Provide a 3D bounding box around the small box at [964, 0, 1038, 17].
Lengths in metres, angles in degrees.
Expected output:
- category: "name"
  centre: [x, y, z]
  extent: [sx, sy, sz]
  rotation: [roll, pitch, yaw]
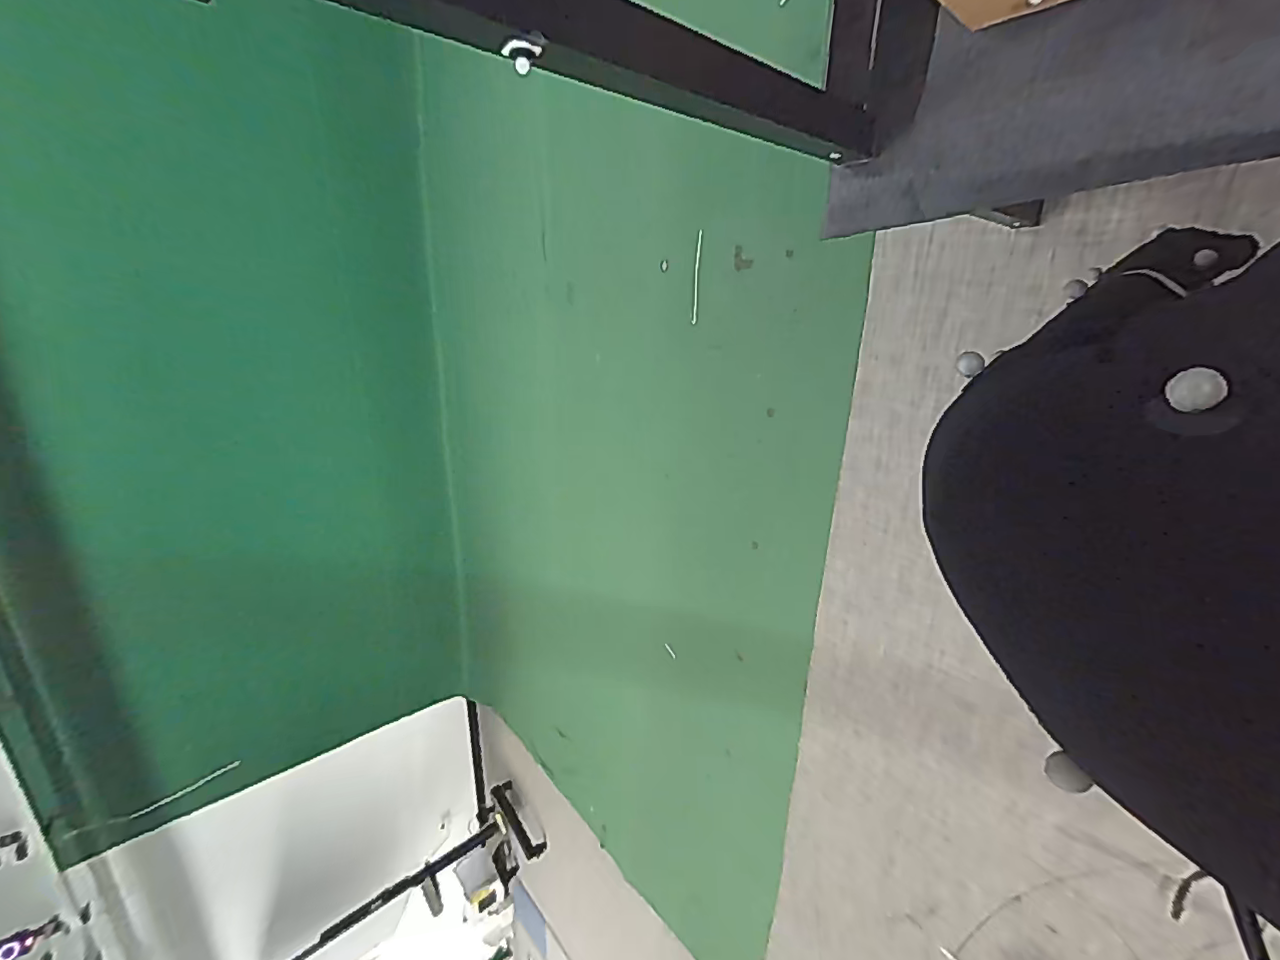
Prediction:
- category: "small box"
  centre: [0.379, -0.580, 0.494]
  extent: [0.168, 0.176, 0.179]
  rotation: [20, 116, 45]
